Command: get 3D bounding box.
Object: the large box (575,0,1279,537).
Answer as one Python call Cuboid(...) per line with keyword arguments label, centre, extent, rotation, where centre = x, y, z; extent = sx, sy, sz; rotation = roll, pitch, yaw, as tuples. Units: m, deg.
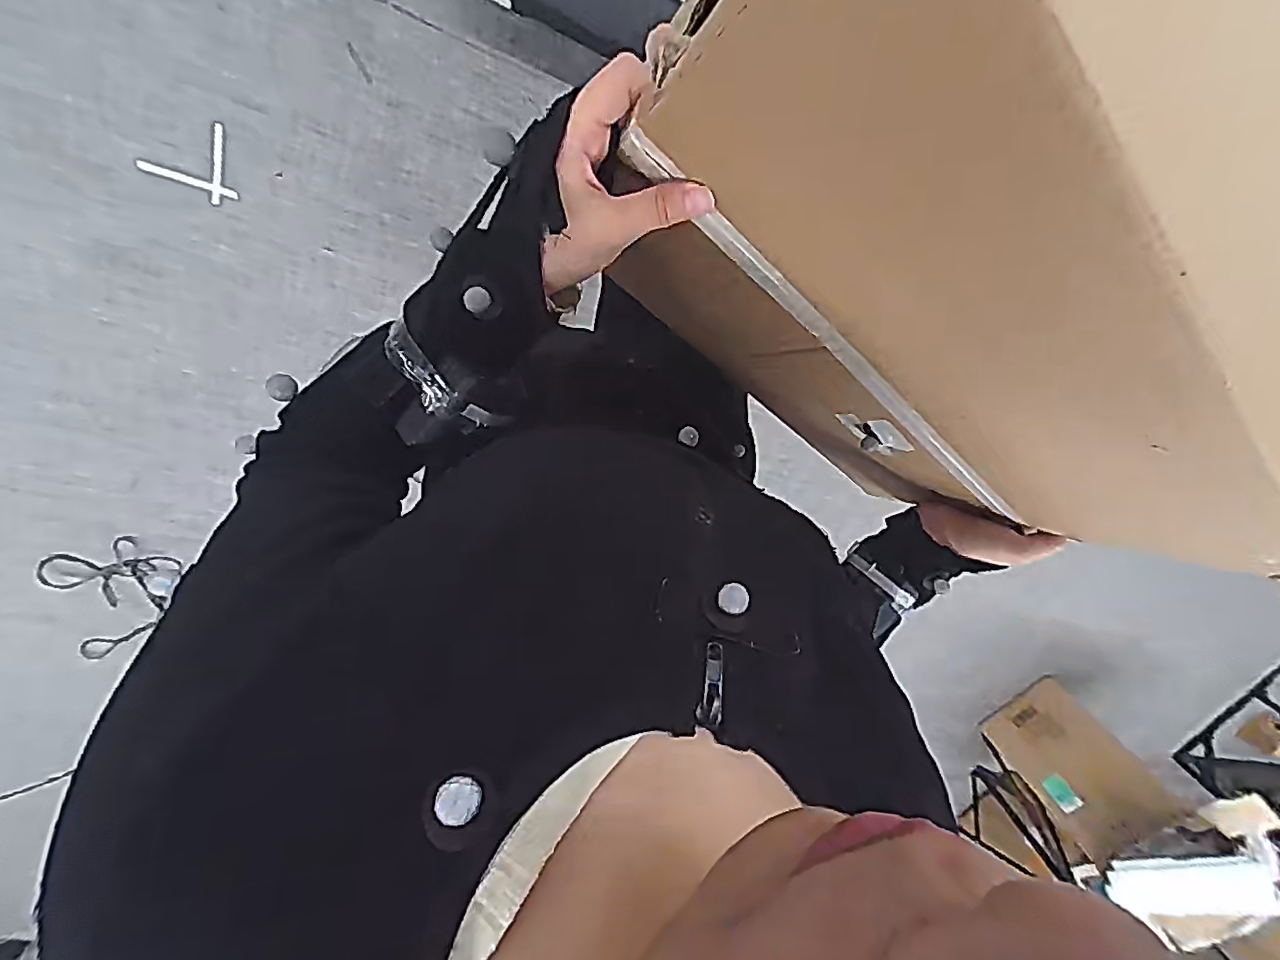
Cuboid(label="large box", centre=(0.239, -0.210, 0.324), extent=(0.408, 0.320, 0.320), rotation=(32, 85, -25))
